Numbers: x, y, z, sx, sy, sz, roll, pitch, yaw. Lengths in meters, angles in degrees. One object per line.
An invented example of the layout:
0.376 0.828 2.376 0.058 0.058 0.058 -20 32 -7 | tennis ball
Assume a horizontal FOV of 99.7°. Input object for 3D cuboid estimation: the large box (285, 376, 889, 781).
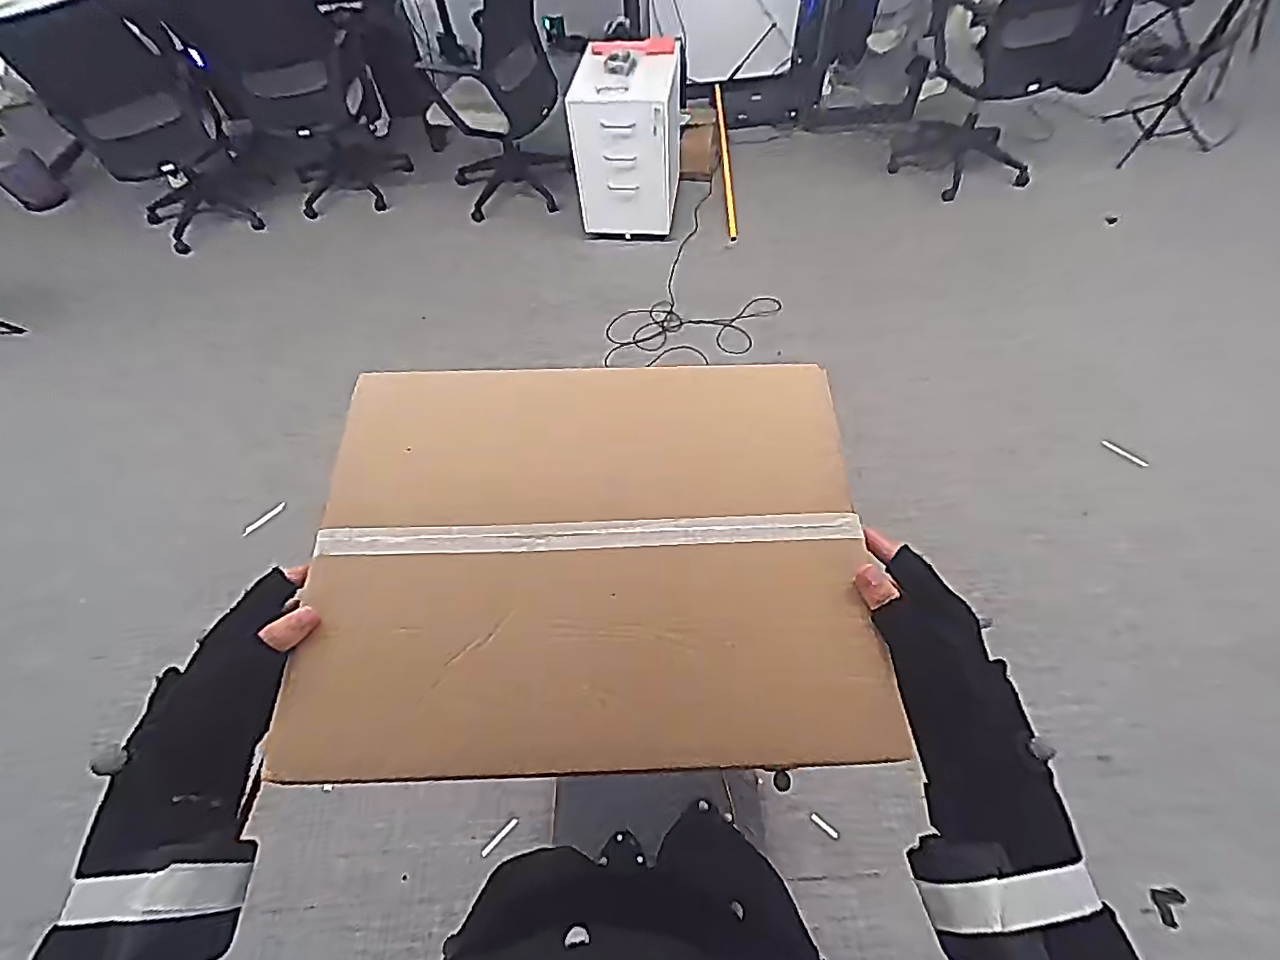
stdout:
-0.037 0.113 0.550 0.408 0.320 0.320 -1 63 -2 | large box
